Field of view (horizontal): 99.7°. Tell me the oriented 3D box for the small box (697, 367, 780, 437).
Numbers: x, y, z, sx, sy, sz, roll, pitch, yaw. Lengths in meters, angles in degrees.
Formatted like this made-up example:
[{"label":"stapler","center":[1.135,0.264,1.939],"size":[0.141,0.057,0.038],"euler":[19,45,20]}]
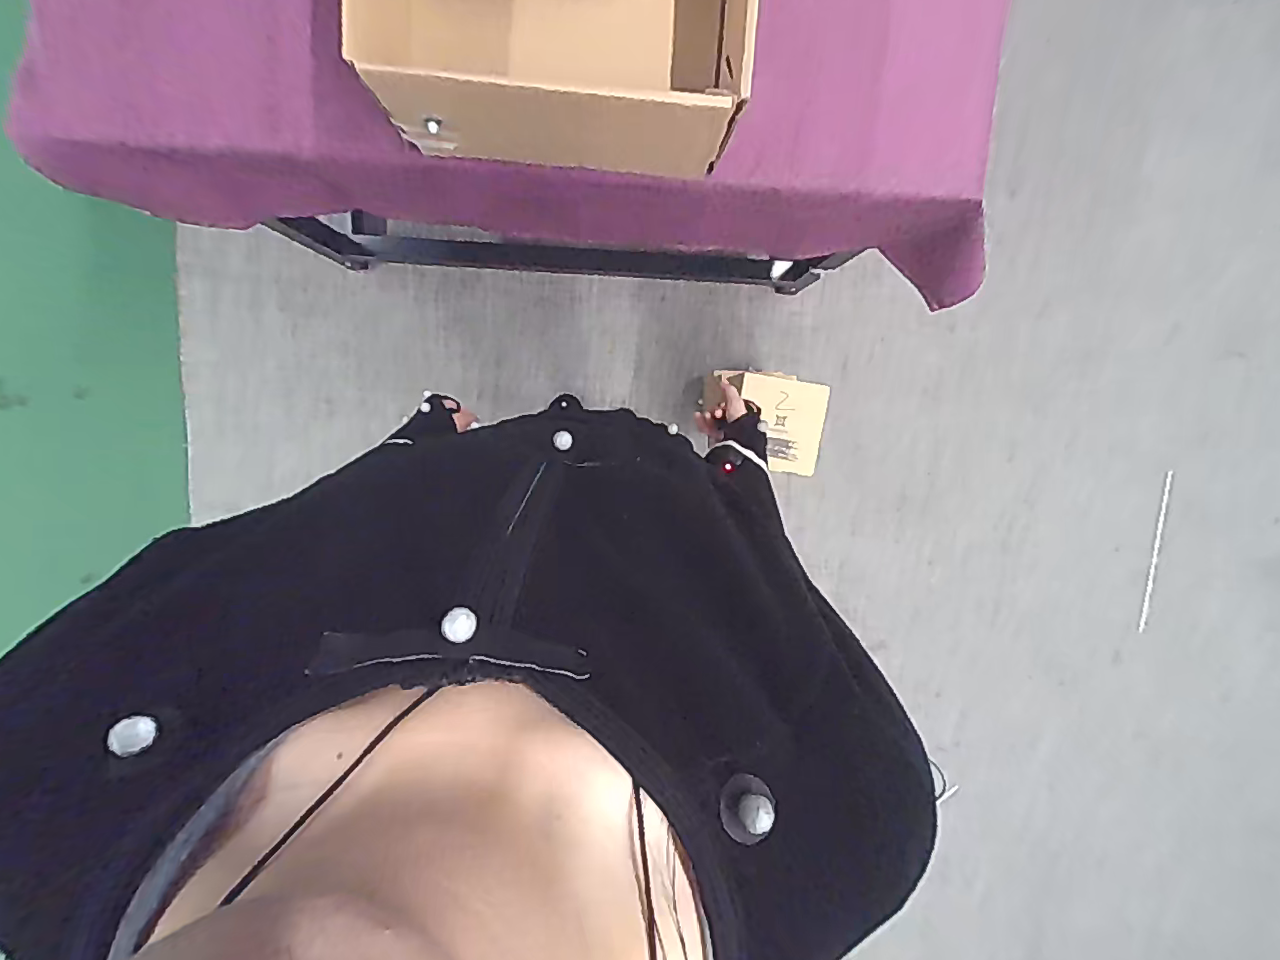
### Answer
[{"label":"small box","center":[0.251,-0.203,1.411],"size":[0.179,0.176,0.168],"euler":[2,98,-2]}]
